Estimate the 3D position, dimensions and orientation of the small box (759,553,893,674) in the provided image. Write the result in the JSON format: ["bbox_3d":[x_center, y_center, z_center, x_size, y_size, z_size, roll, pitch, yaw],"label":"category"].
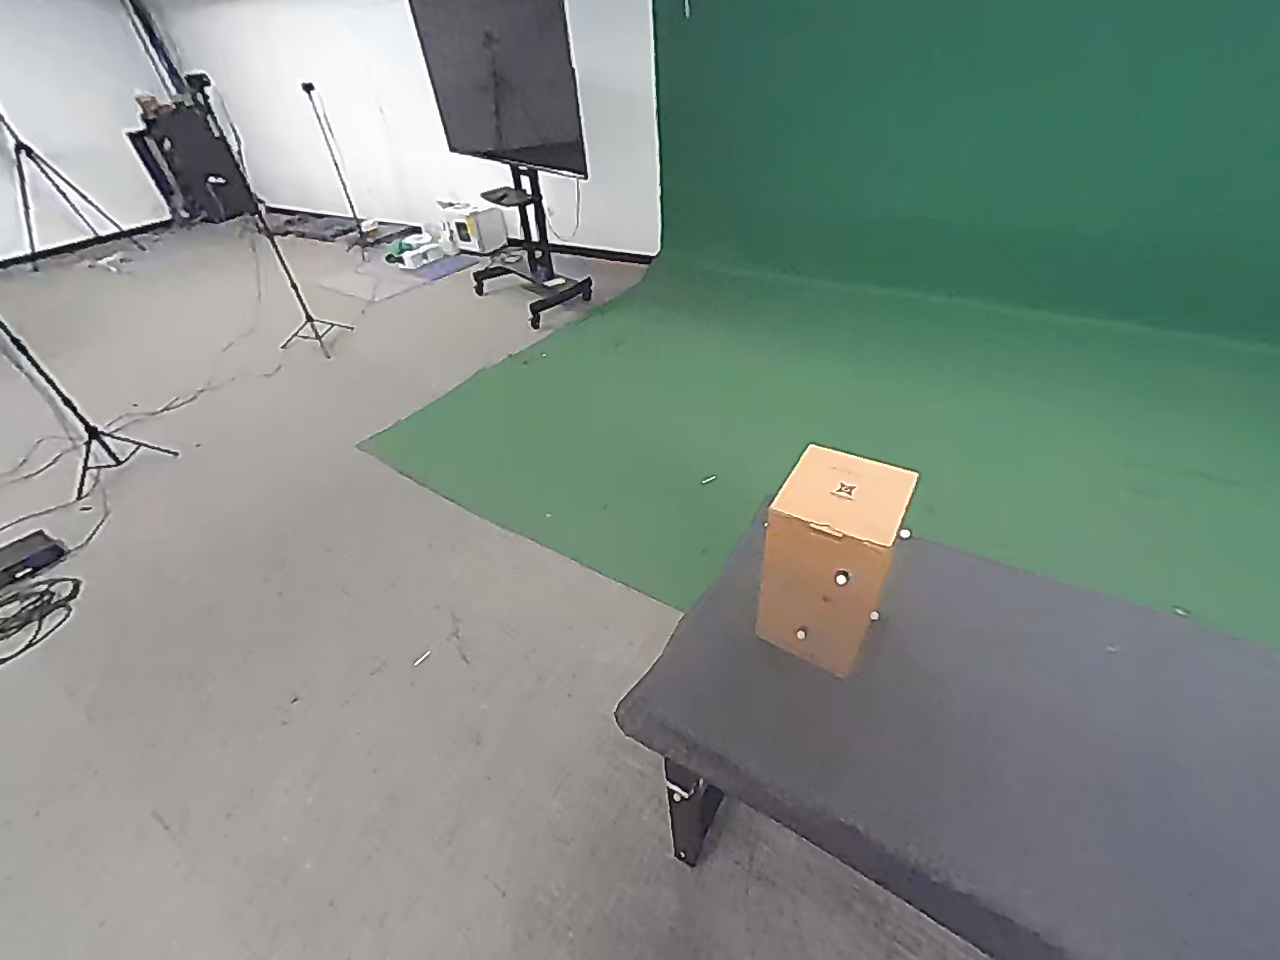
[{"bbox_3d":[0.318,0.201,0.942,0.168,0.176,0.179,21,46,28],"label":"small box"}]

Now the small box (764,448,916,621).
[{"bbox_3d":[0.300,0.083,0.830,0.168,0.176,0.179,20,45,26],"label":"small box"}]
